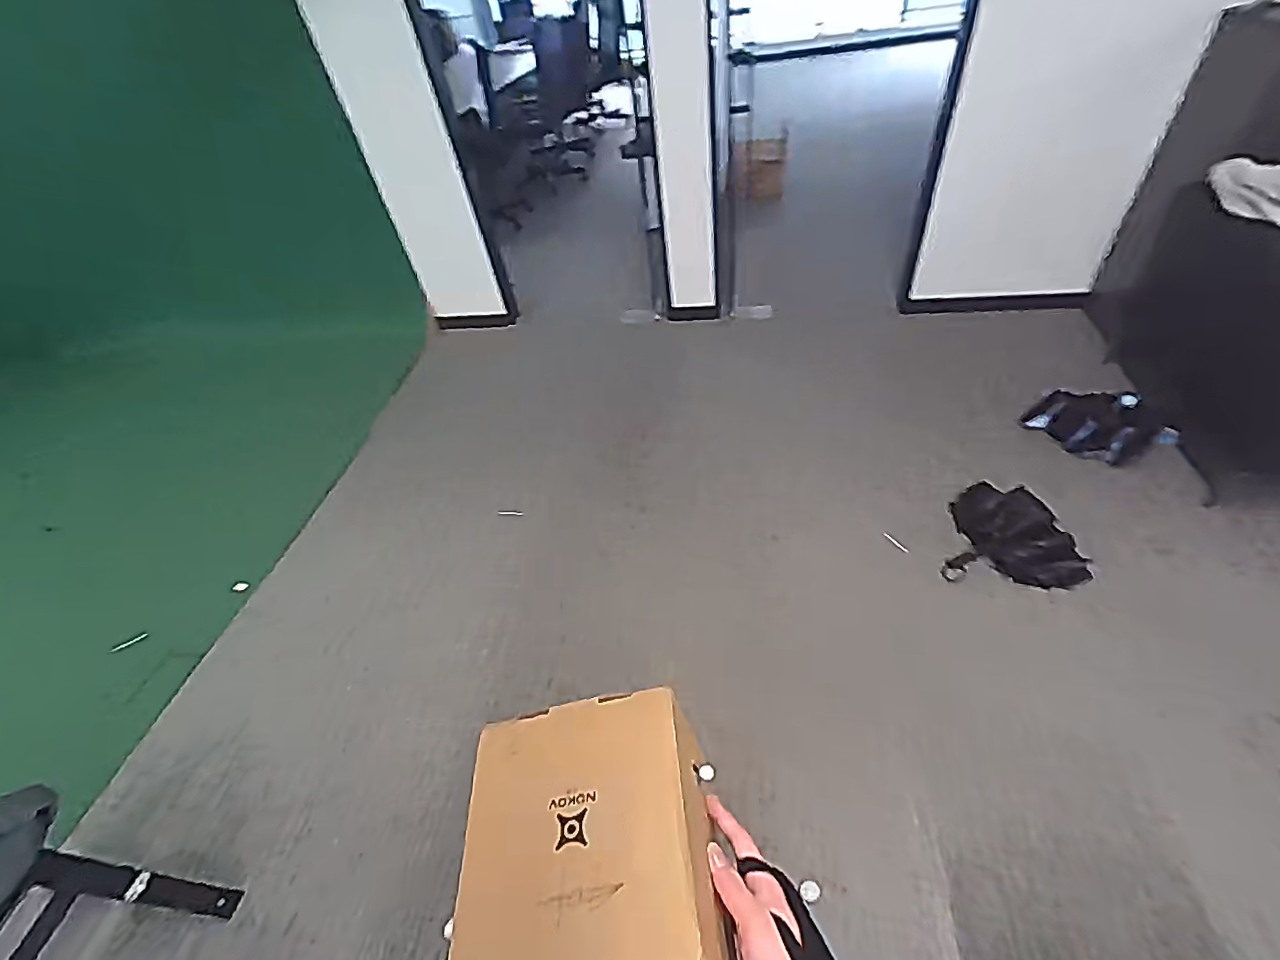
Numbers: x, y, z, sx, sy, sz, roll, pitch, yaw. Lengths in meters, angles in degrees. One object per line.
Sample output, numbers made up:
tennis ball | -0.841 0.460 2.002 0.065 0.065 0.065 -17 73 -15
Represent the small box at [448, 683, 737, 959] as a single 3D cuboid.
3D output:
small box | -0.029 0.299 0.435 0.168 0.176 0.179 -16 40 5
